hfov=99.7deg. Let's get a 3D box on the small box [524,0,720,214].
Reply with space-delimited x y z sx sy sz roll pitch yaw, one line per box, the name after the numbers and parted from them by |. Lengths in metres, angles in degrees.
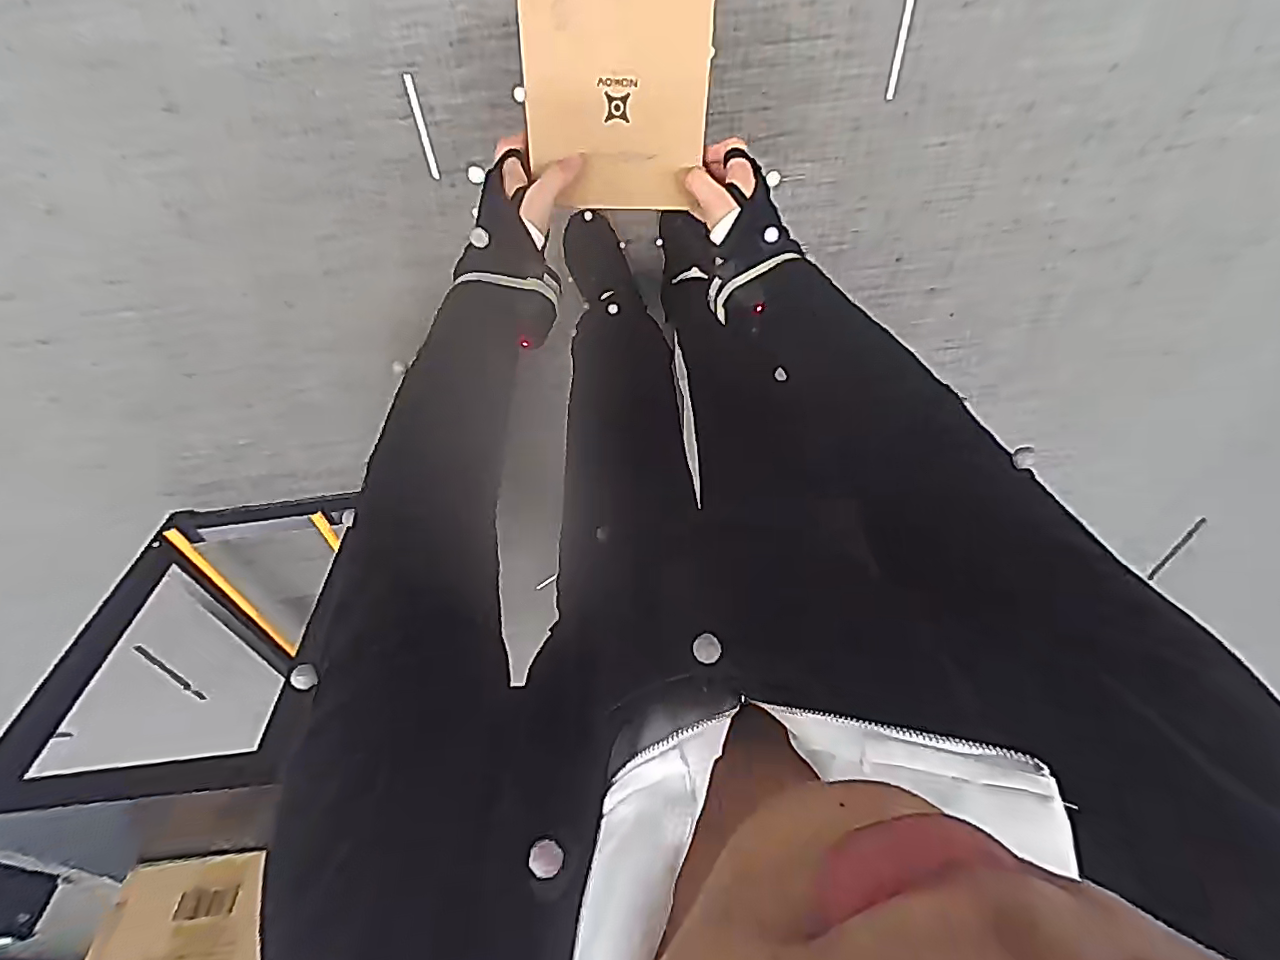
-0.022 -0.380 0.550 0.168 0.176 0.179 -1 125 -3 | small box
